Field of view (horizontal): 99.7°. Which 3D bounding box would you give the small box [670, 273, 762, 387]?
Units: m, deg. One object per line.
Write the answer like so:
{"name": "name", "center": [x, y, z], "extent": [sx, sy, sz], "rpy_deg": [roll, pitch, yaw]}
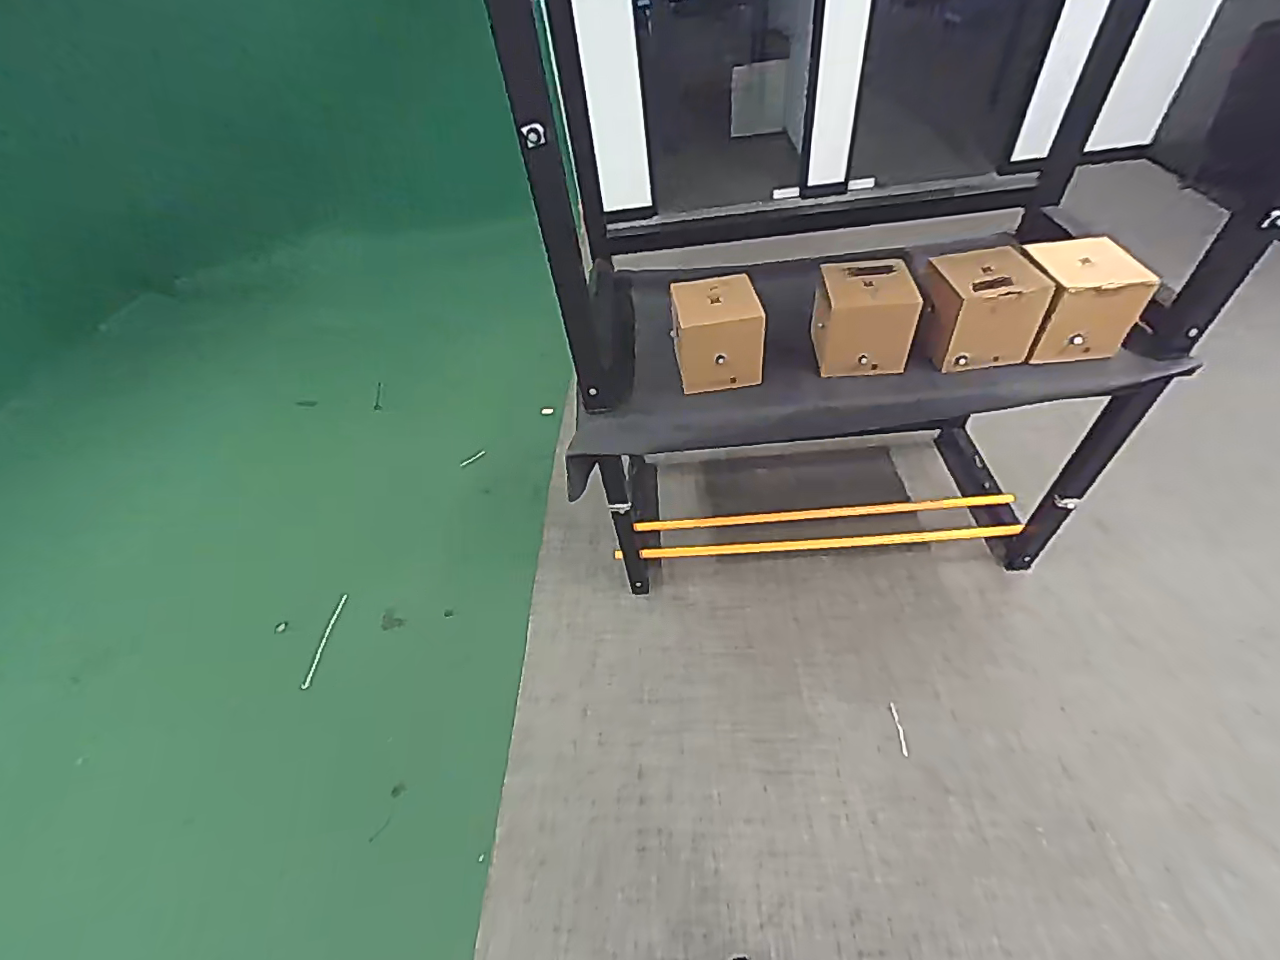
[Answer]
{"name": "small box", "center": [0.160, -0.313, 1.153], "extent": [0.168, 0.176, 0.179], "rpy_deg": [-7, 47, 1]}
